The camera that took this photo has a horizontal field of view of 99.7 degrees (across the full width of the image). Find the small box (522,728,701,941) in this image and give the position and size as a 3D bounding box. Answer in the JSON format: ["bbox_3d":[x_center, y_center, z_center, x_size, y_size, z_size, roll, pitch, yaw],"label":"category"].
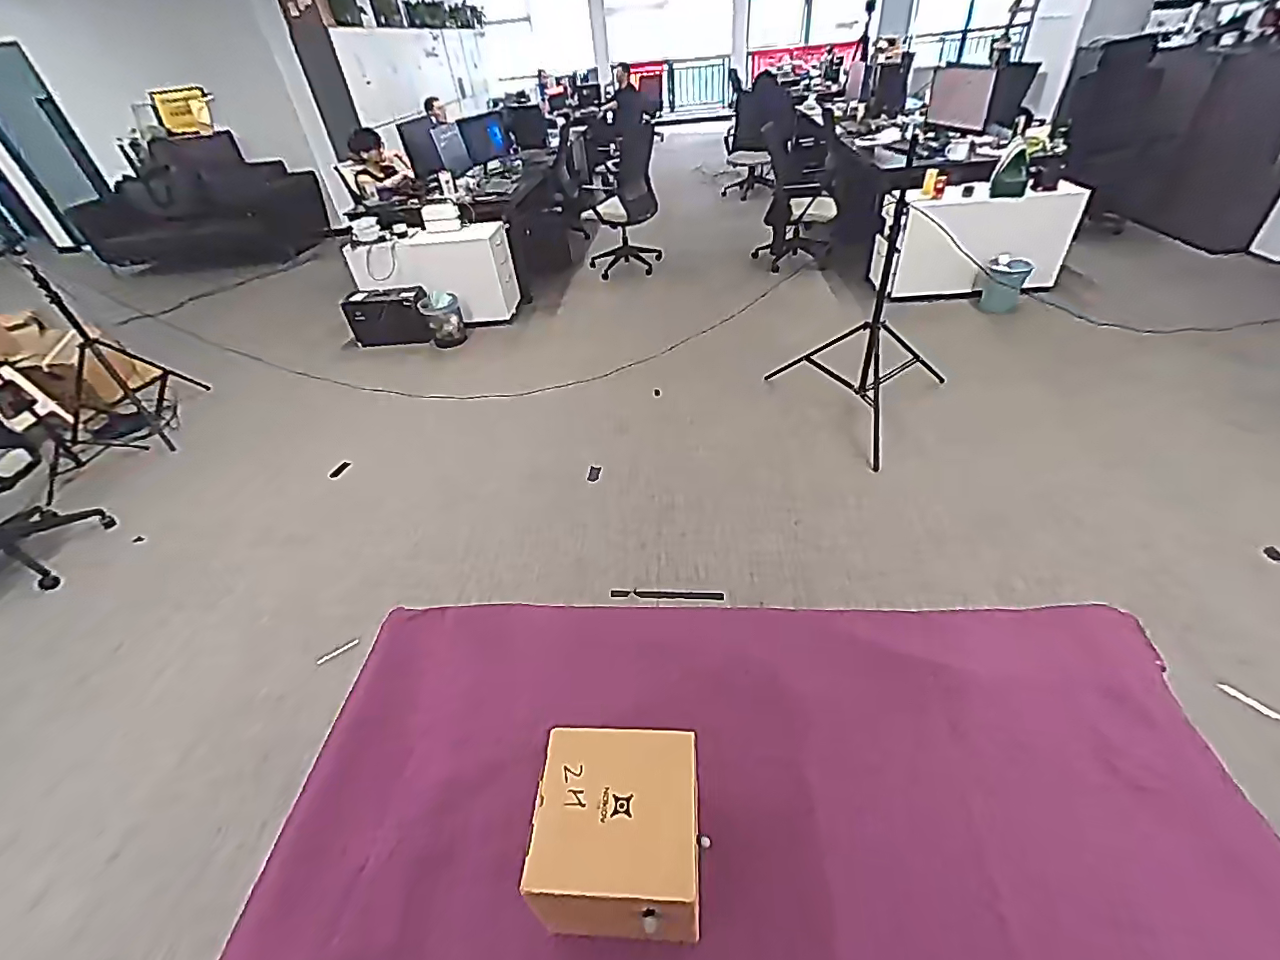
[{"bbox_3d":[-0.018,0.412,0.631,0.179,0.176,0.168,-2,39,6],"label":"small box"}]
